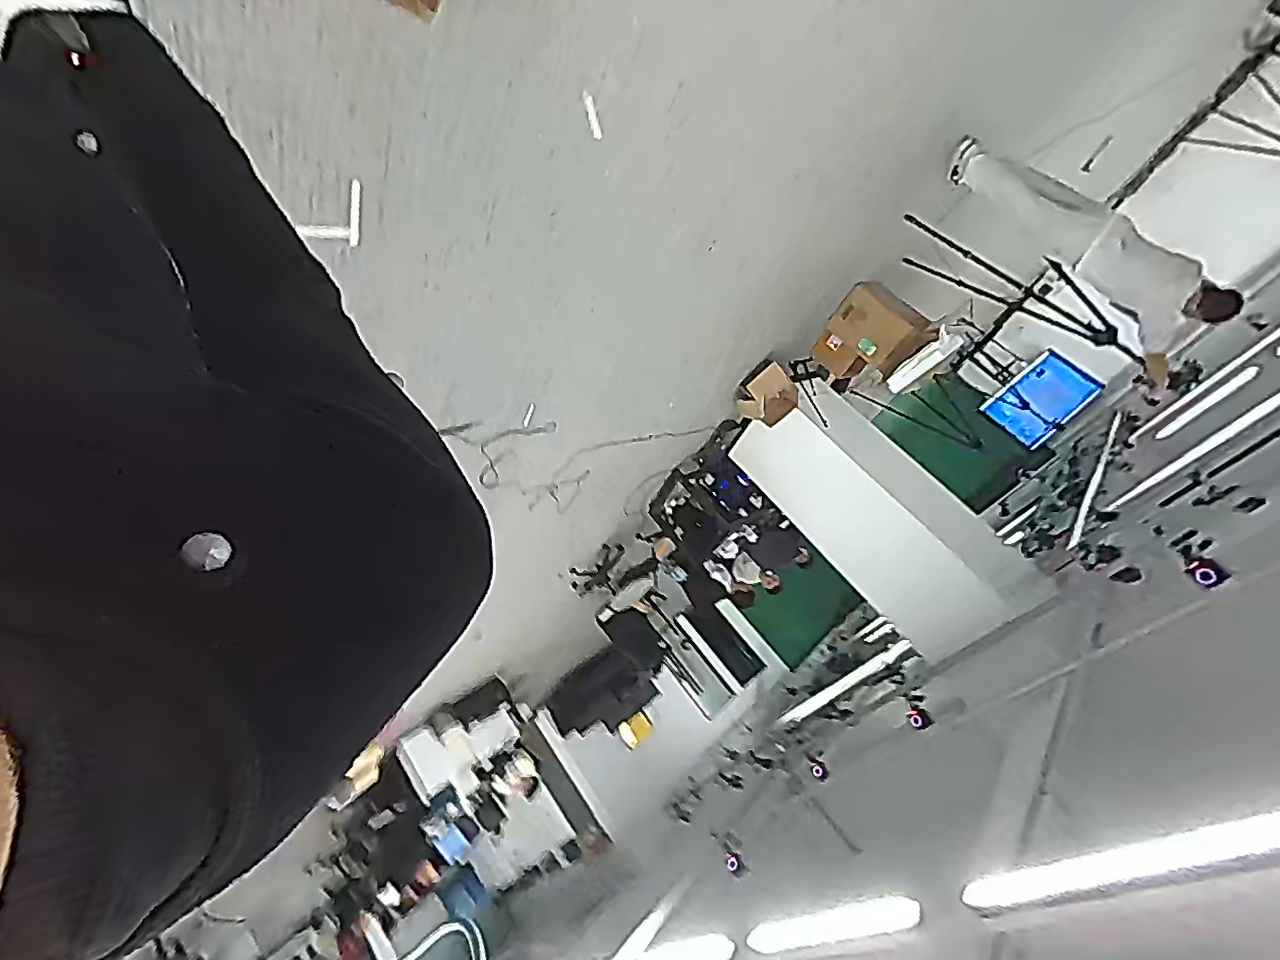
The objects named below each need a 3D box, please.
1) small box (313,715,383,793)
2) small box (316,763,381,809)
[{"bbox_3d":[-1.088,1.014,2.010,0.179,0.176,0.168,-22,151,-43],"label":"small box"},{"bbox_3d":[-1.172,1.172,2.173,0.179,0.176,0.168,-23,152,-42],"label":"small box"}]
